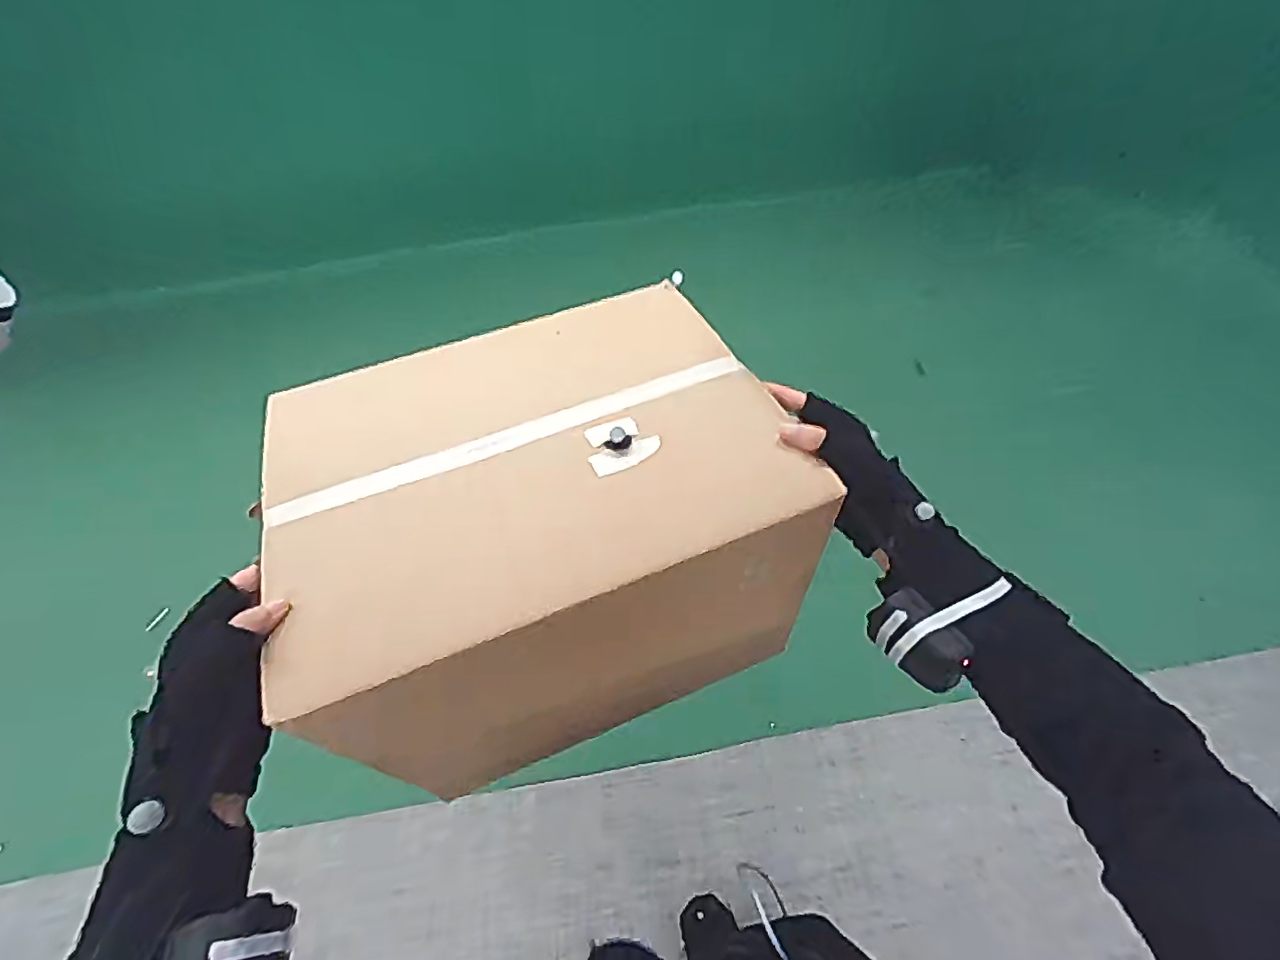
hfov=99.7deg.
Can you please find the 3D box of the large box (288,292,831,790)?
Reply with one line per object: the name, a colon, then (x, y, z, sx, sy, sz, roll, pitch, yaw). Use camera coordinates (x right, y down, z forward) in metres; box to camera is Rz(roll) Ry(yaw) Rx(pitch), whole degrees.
large box: (-0.083, 0.061, 0.577, 0.408, 0.320, 0.320, -20, 54, -12)
